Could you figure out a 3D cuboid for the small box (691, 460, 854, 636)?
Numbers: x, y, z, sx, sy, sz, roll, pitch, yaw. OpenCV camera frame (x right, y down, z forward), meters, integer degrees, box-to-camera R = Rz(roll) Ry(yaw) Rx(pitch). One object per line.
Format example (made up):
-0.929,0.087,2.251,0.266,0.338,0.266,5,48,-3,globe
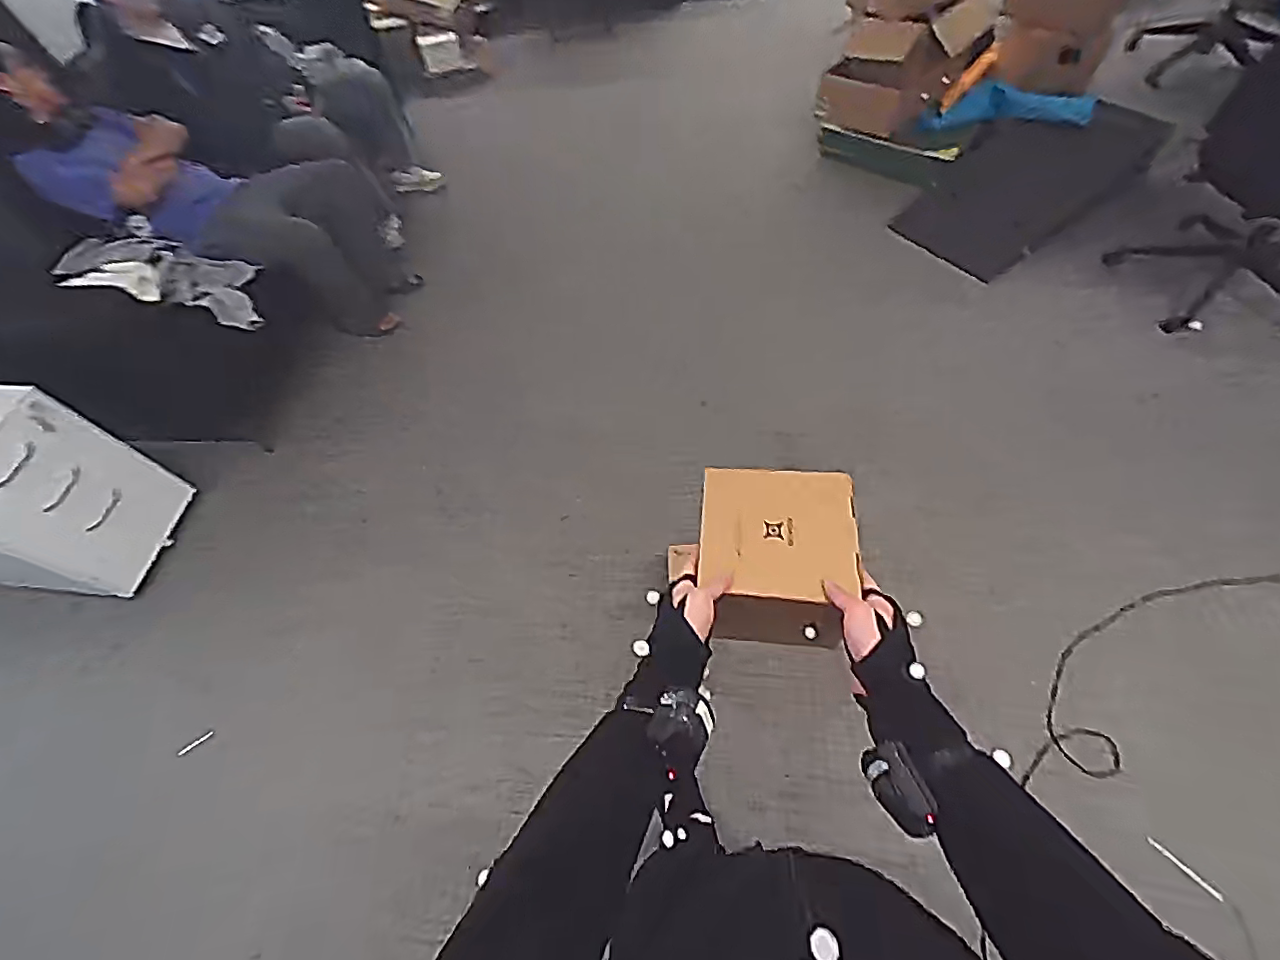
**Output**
0.165,0.091,0.696,0.179,0.176,0.168,3,57,12,small box

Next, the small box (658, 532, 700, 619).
0.174,0.261,1.506,0.179,0.176,0.168,-30,58,-8,small box
